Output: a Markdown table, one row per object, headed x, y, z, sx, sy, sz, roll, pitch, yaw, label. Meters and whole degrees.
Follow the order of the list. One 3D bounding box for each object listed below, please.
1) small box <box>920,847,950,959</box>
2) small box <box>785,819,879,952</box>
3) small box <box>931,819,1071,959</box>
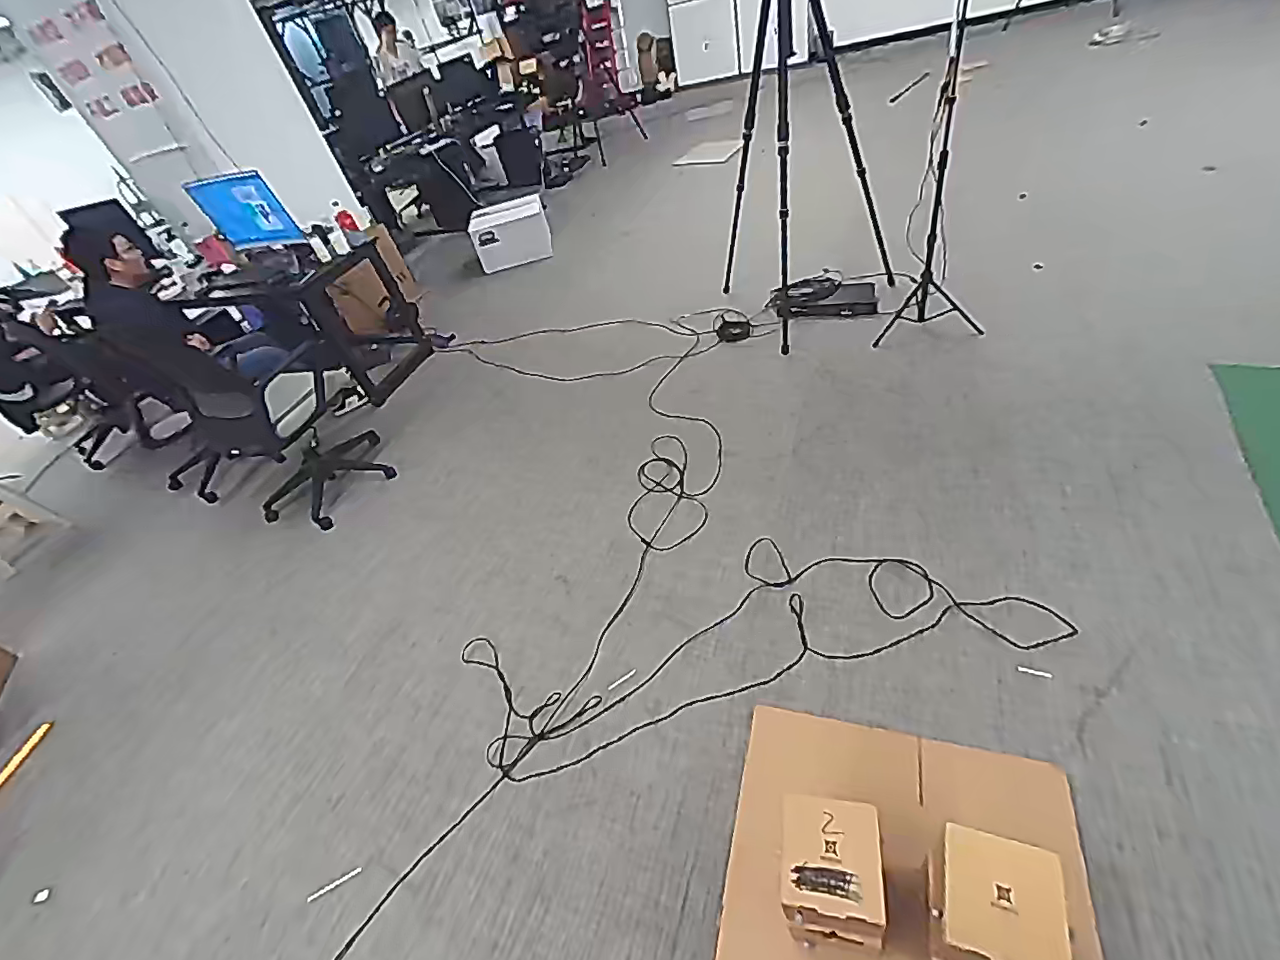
| x | y | z | sx | sy | sz | roll | pitch | yaw | label |
| --- | --- | --- | --- | --- | --- | --- | --- | --- | --- |
| 0.625 | 0.829 | 1.012 | 0.168 | 0.176 | 0.179 | 2 | 47 | 23 | small box |
| 0.388 | 0.822 | 1.095 | 0.168 | 0.176 | 0.179 | 0 | 45 | 19 | small box |
| 0.590 | 0.711 | 0.906 | 0.168 | 0.176 | 0.179 | 5 | 48 | 24 | small box |
